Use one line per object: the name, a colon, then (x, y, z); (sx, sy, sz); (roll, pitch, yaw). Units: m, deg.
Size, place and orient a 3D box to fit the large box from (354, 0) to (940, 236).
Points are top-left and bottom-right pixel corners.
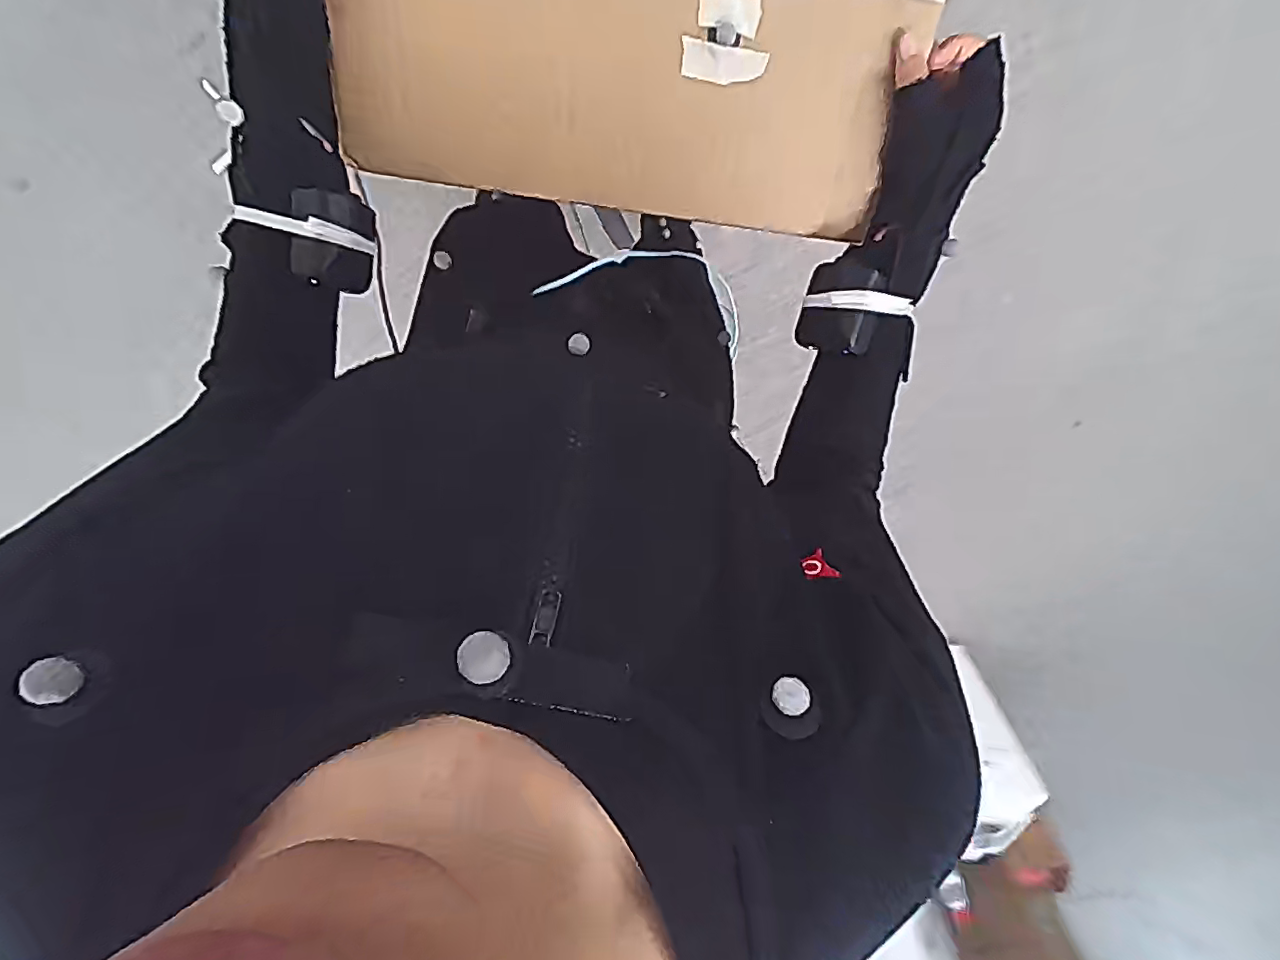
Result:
large box: (0.007, -0.426, 0.479); (0.408, 0.320, 0.320); (6, 123, -4)
